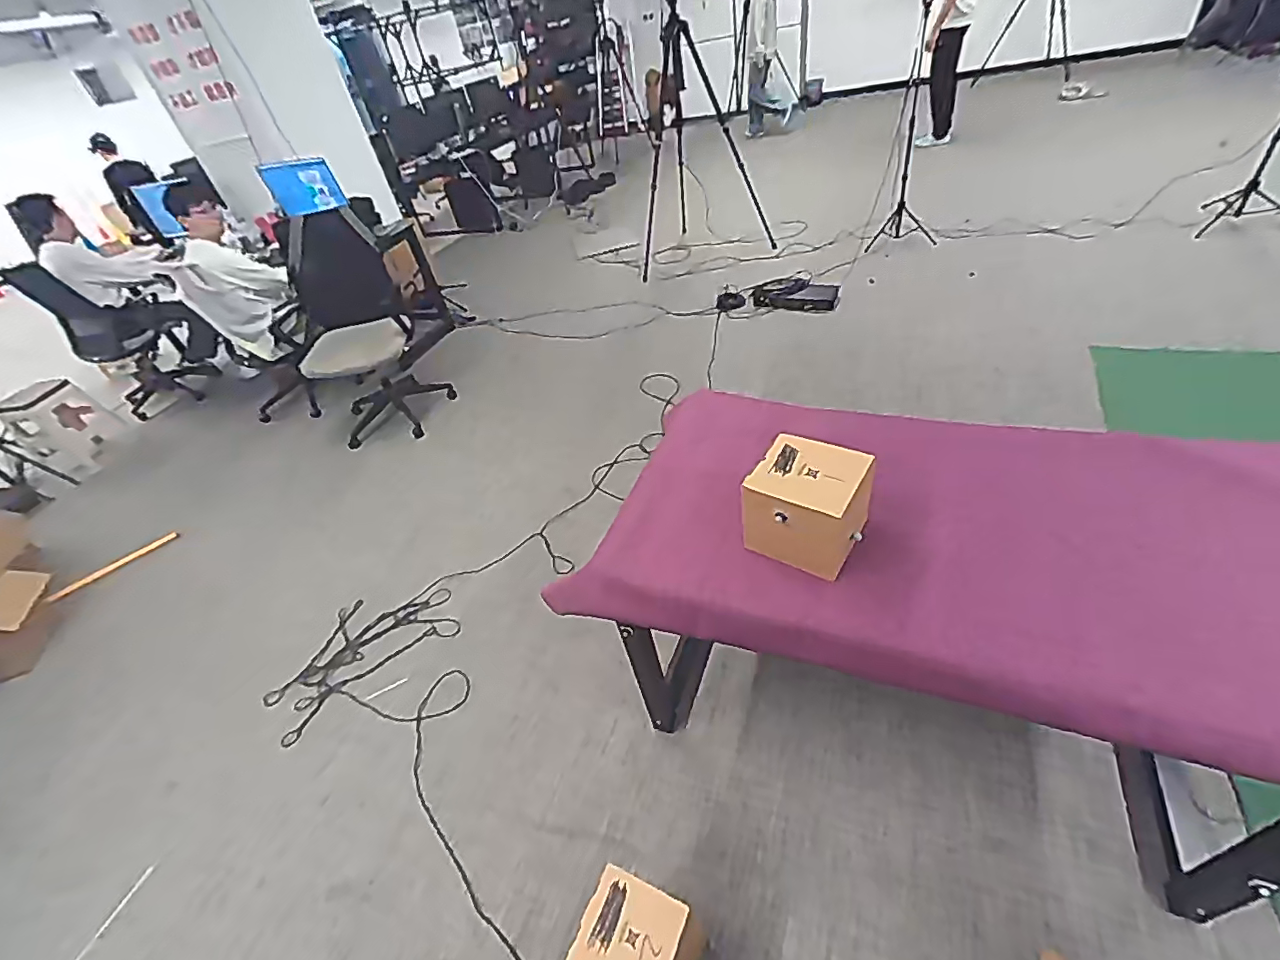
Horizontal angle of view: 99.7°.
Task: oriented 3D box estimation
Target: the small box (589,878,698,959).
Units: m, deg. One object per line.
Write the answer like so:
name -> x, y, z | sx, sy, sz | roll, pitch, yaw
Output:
small box -> 0.012, 0.975, 1.115 | 0.168, 0.176, 0.179 | 12, 47, 25

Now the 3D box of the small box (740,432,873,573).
small box -> 0.299, 0.041, 0.983 | 0.179, 0.176, 0.168 | 20, 51, 31
